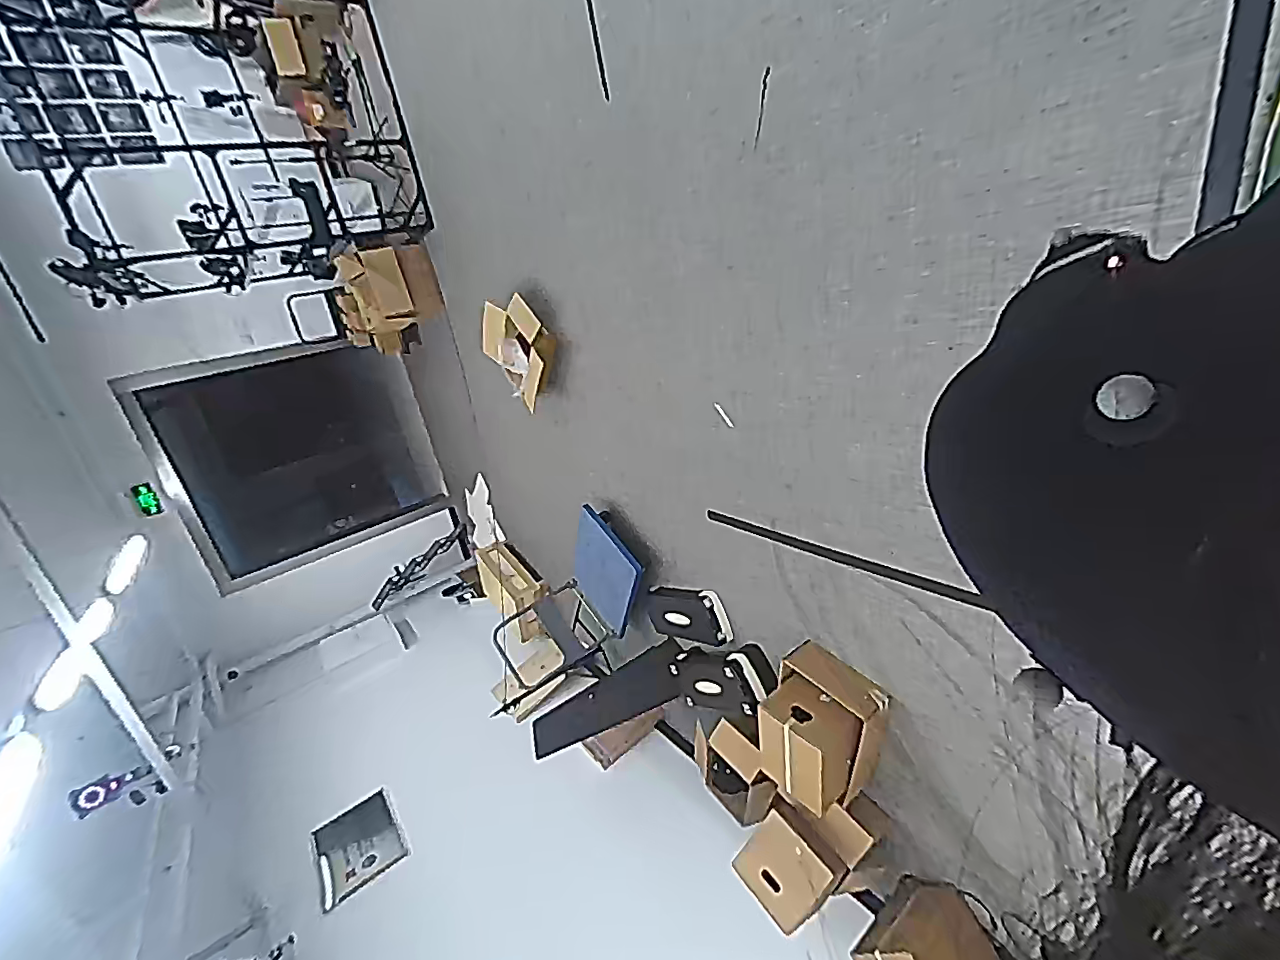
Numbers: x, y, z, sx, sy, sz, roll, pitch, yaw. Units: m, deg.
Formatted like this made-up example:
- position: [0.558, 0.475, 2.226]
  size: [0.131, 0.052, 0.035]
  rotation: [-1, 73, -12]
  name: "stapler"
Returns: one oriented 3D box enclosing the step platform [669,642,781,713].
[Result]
- position: [0.428, 1.054, 2.897]
  size: [0.286, 0.204, 0.684]
  rotation: [63, 148, 4]
  name: "step platform"
